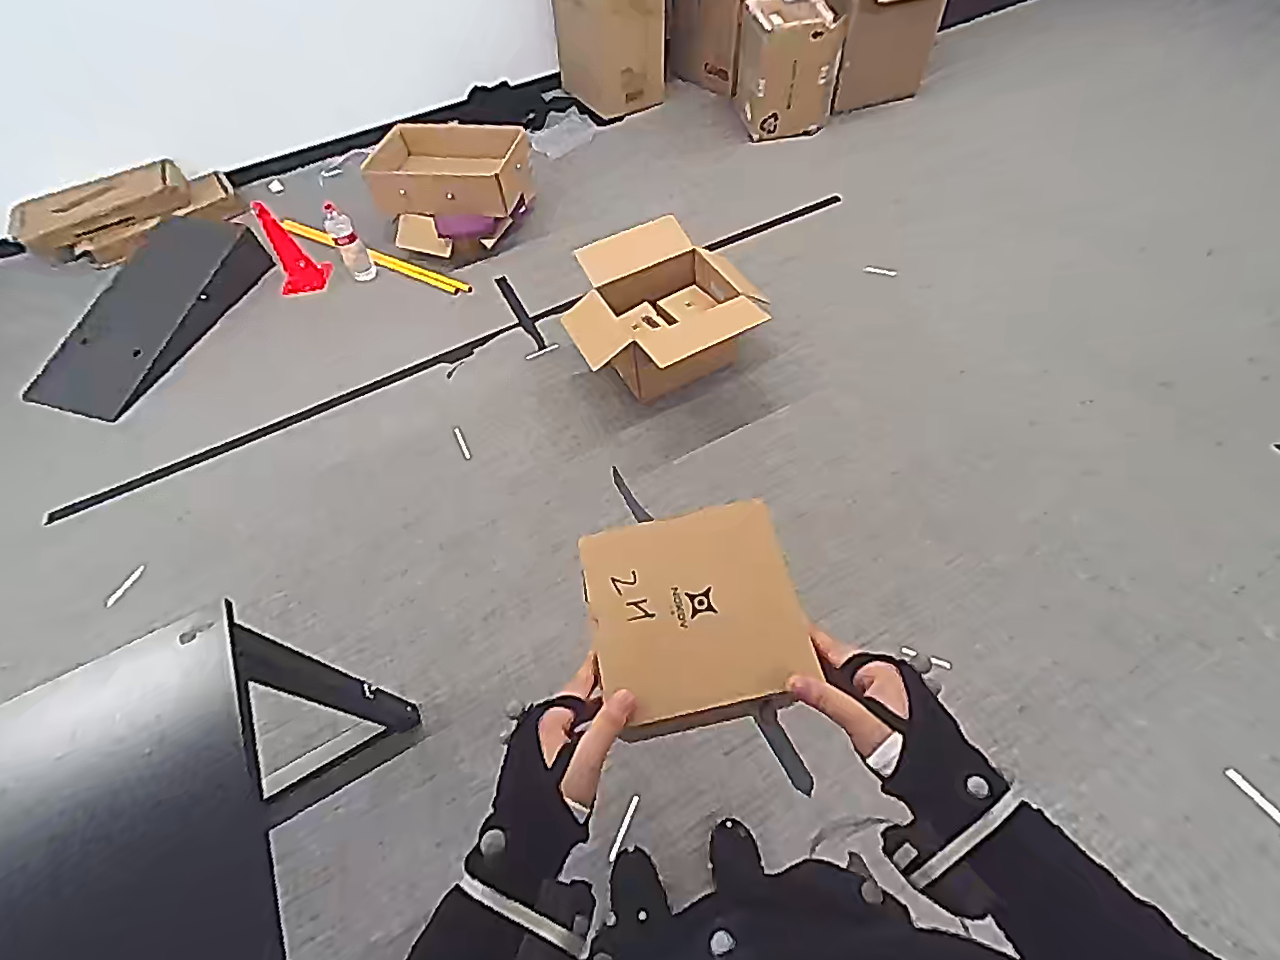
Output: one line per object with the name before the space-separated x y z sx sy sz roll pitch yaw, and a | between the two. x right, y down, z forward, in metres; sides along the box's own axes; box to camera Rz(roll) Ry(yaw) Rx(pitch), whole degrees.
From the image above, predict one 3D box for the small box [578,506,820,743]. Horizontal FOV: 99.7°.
small box | 0.048 0.147 0.525 0.179 0.176 0.168 -12 60 -1
